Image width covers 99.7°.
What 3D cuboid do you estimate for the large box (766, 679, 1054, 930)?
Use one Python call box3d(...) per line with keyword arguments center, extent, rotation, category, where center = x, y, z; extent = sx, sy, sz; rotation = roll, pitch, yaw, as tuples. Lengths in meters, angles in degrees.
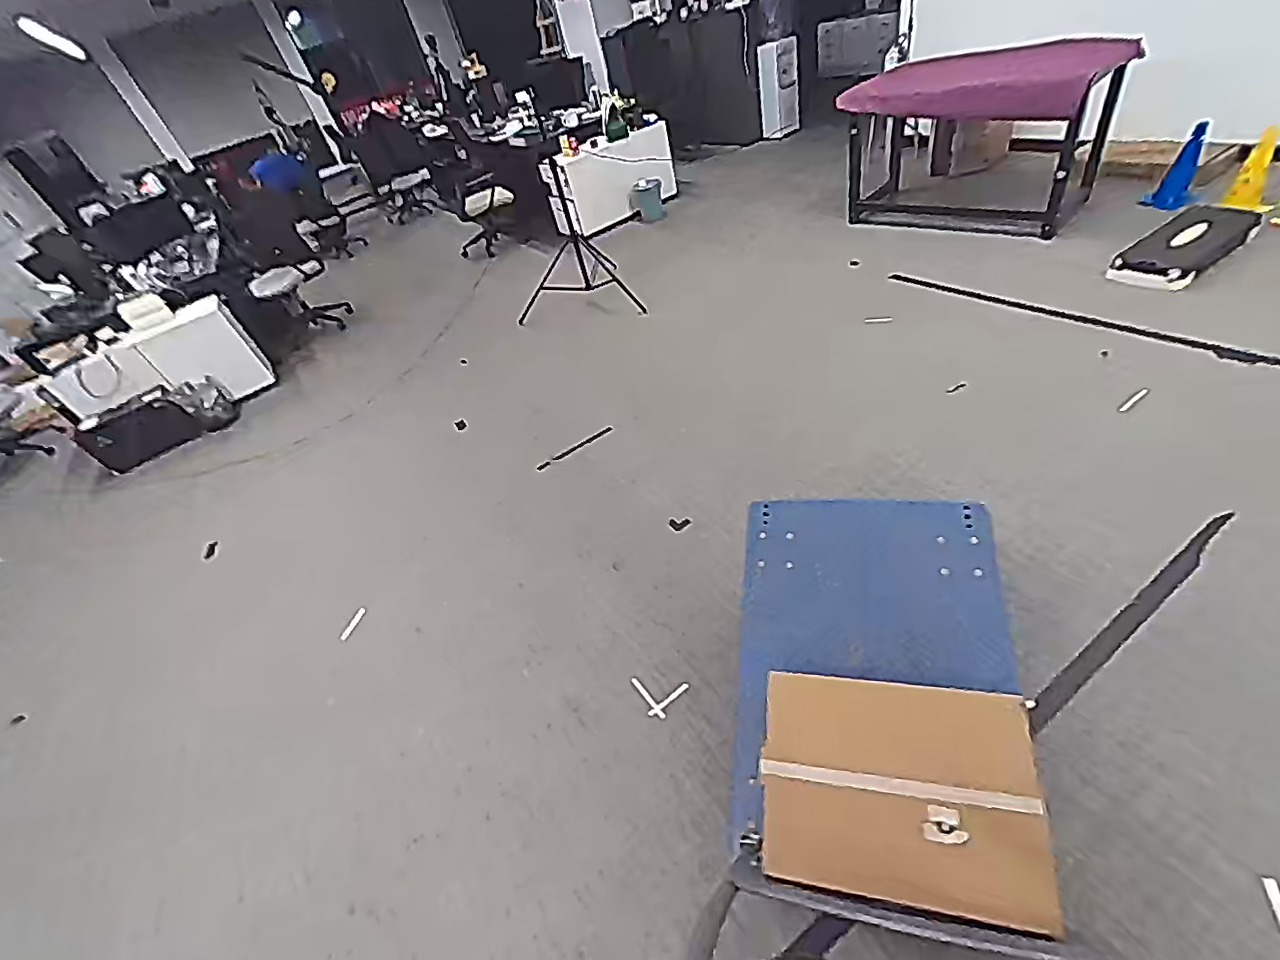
box3d(center=(0.445, 0.569, 1.002), extent=(0.408, 0.320, 0.320), rotation=(-1, 63, 17), category="large box")
